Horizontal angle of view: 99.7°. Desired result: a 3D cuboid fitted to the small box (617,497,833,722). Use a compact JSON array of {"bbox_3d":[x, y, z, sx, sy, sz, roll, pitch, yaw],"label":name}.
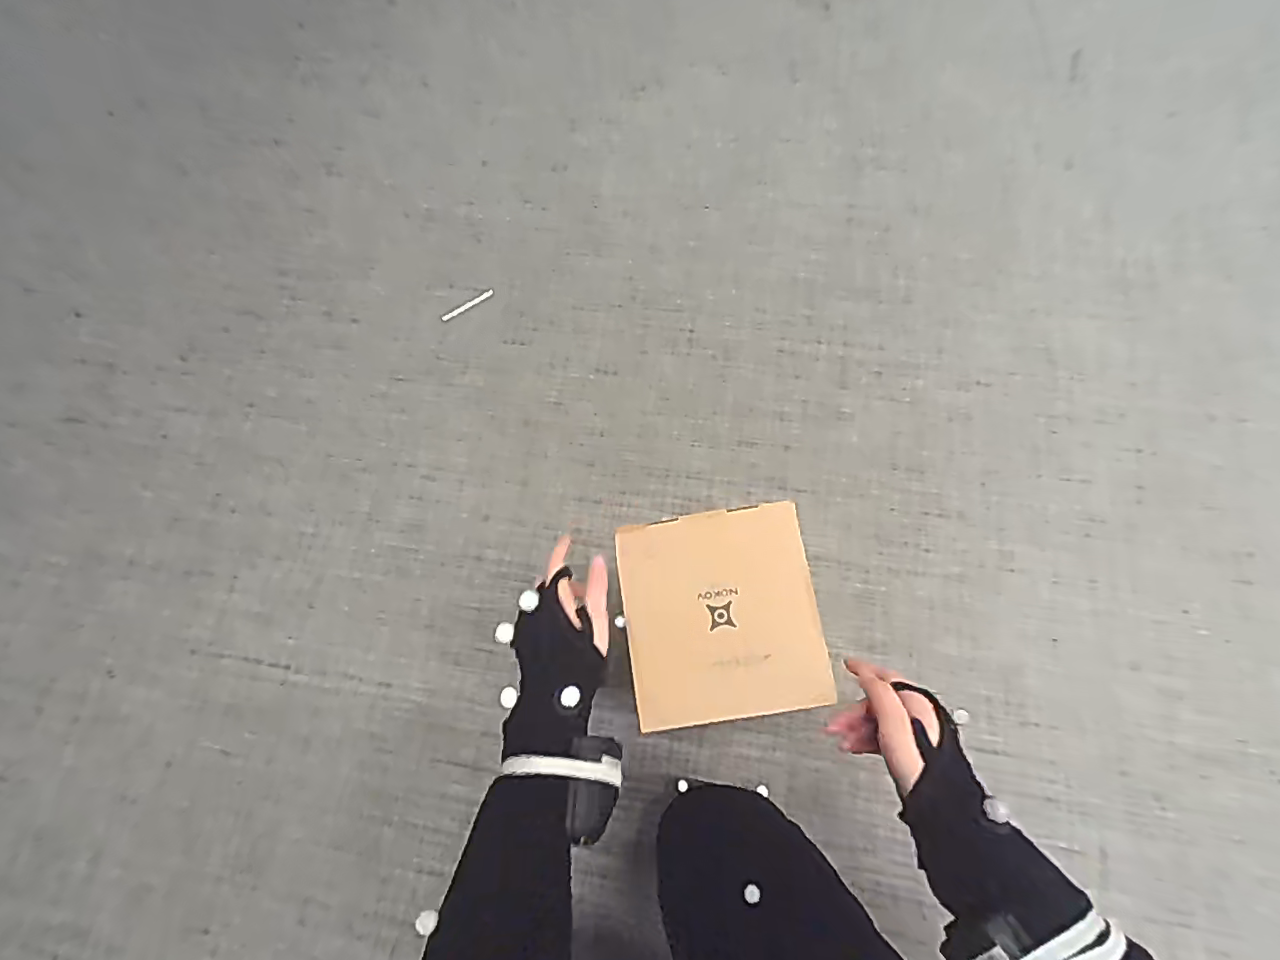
[{"bbox_3d":[0.075,0.130,0.548,0.168,0.176,0.179,-10,75,3],"label":"small box"}]
